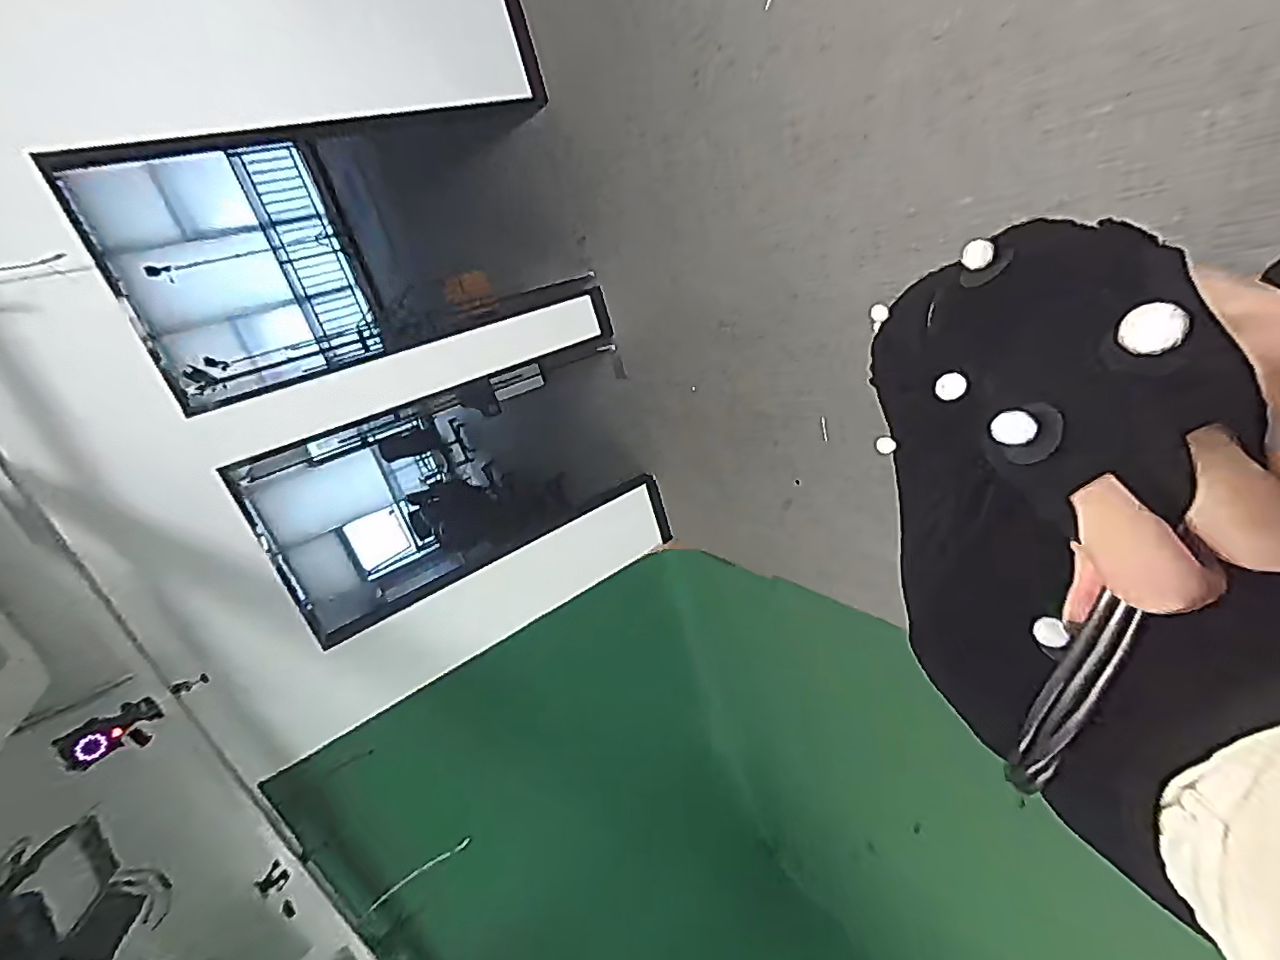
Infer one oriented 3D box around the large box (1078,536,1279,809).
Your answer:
[{"bbox_3d":[1.188,0.369,1.127,0.320,0.320,0.408,4,118,60],"label":"large box"}]
